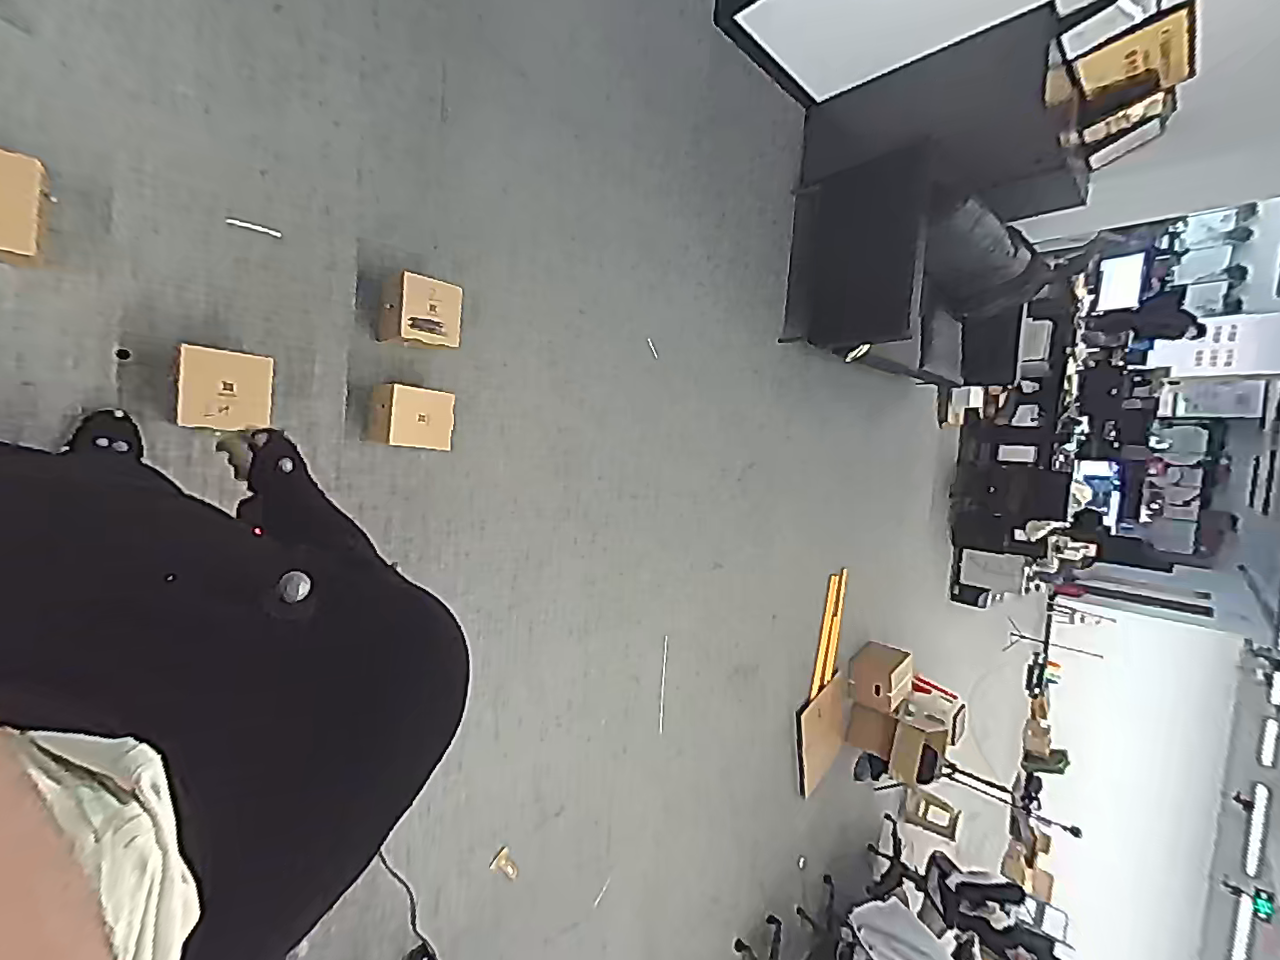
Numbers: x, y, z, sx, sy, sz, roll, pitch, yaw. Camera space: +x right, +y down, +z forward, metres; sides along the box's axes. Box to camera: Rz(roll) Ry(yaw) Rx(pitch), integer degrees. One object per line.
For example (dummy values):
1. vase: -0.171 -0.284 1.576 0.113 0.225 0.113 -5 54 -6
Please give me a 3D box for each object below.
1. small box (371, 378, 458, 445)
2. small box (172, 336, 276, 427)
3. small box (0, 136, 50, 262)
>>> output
1. small box: -0.647 -0.191 1.544 0.179 0.176 0.168 4 93 -45
2. small box: -0.953 -0.218 1.236 0.168 0.176 0.179 3 93 -44
3. small box: -1.188 -0.515 0.967 0.168 0.176 0.179 5 93 -44
